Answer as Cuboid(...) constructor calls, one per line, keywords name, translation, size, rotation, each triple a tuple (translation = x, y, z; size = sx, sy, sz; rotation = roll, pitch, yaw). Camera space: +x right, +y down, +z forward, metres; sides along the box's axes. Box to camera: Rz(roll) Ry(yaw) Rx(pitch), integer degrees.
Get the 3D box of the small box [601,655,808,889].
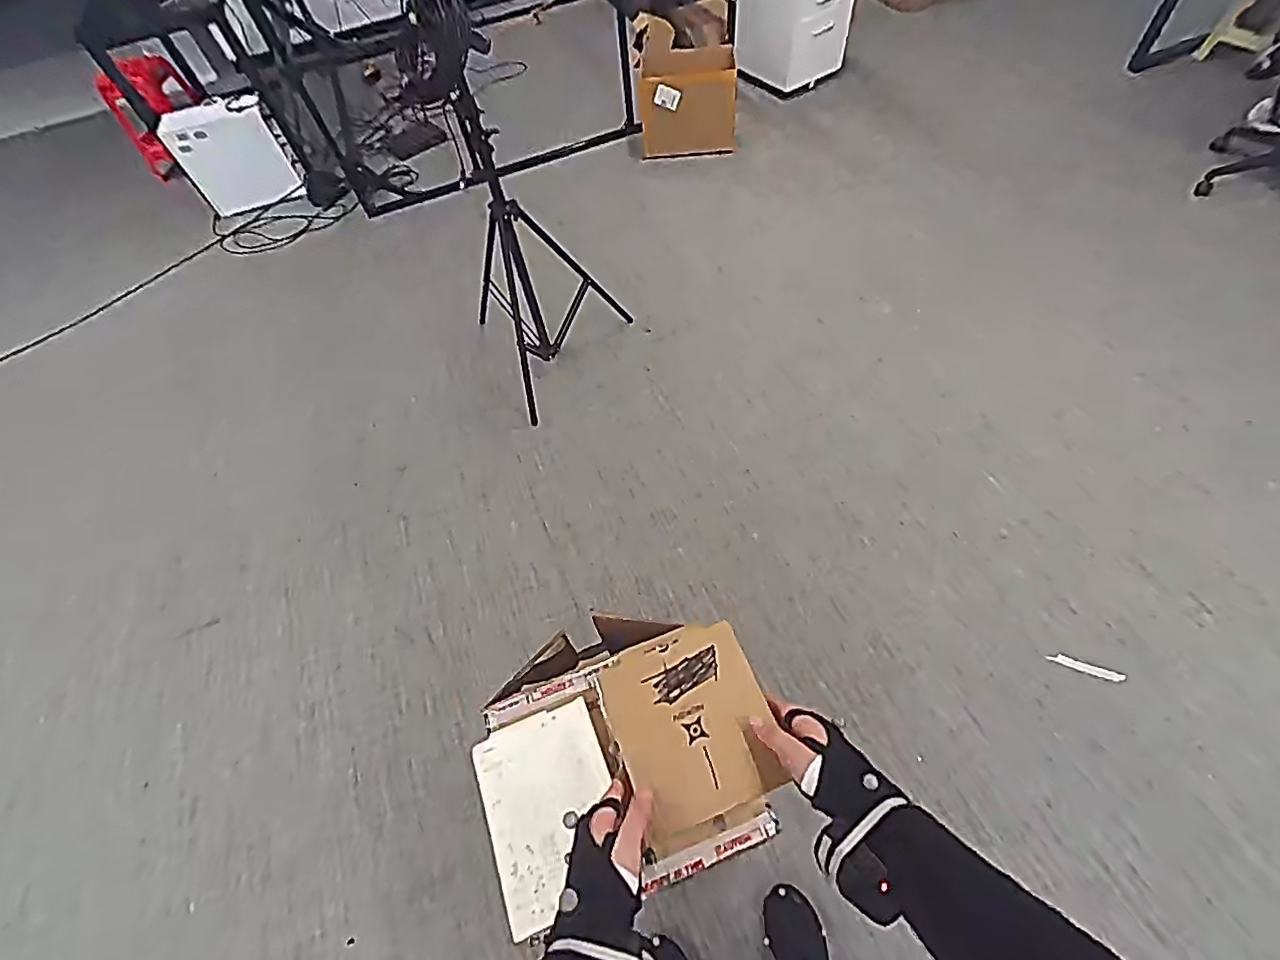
Cuboid(name="small box", translation=(0.064, 0.334, 0.627), size=(0.168, 0.176, 0.179), rotation=(-20, 60, -9))
